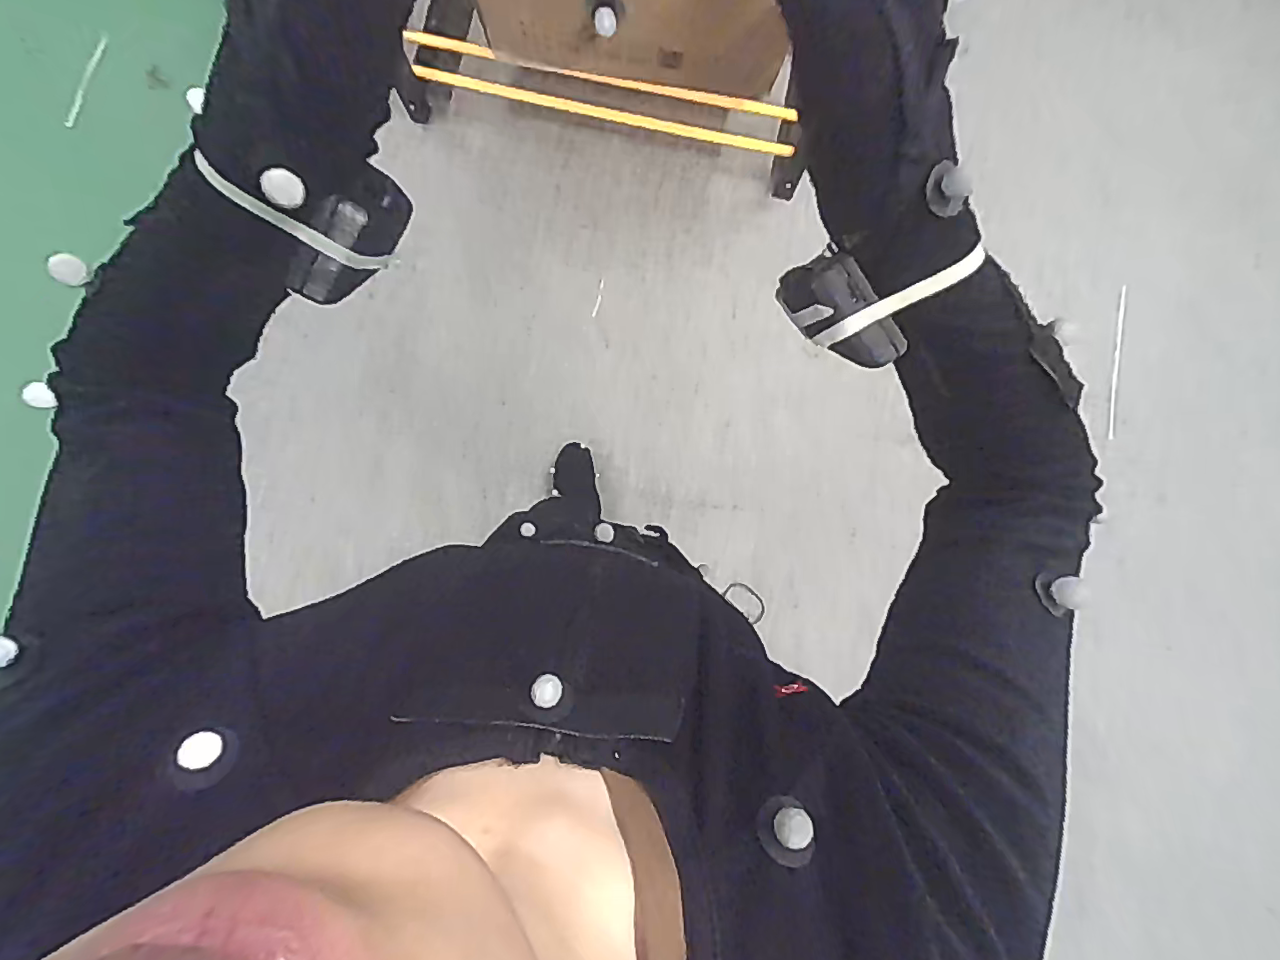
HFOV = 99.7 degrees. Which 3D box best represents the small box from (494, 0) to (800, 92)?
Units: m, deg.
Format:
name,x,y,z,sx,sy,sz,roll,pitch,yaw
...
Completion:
name,x,y,z,sx,sy,sz,roll,pitch,yaw
small box,0.008,-0.320,0.235,0.168,0.176,0.179,7,96,-3
